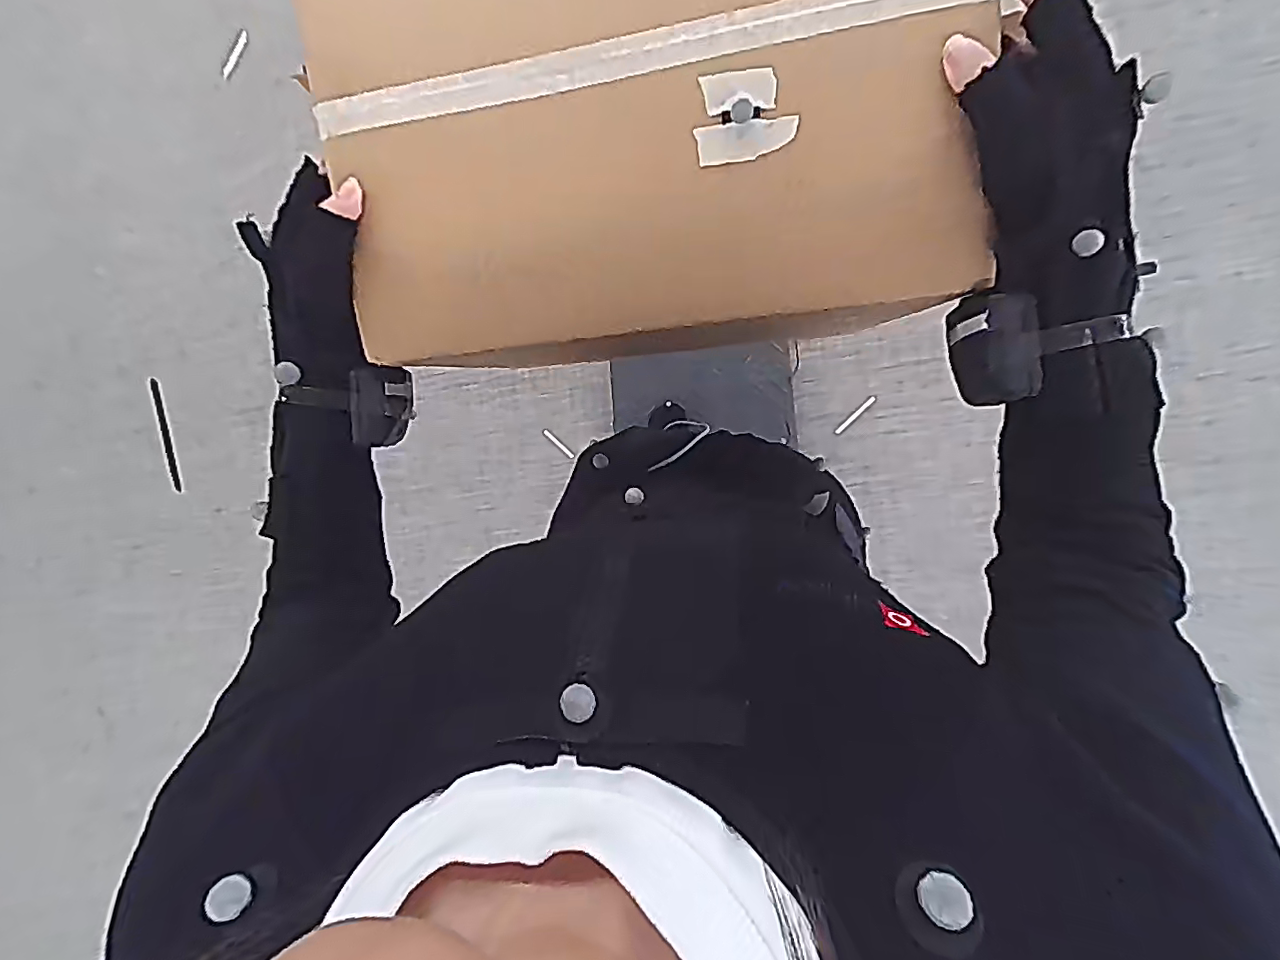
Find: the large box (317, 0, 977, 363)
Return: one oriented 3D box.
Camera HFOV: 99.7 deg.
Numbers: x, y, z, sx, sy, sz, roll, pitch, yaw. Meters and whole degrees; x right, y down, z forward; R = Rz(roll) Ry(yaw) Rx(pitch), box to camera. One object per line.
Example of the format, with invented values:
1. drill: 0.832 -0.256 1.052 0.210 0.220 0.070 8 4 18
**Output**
1. large box: 0.011 -0.287 0.479 0.408 0.320 0.320 -5 101 9
